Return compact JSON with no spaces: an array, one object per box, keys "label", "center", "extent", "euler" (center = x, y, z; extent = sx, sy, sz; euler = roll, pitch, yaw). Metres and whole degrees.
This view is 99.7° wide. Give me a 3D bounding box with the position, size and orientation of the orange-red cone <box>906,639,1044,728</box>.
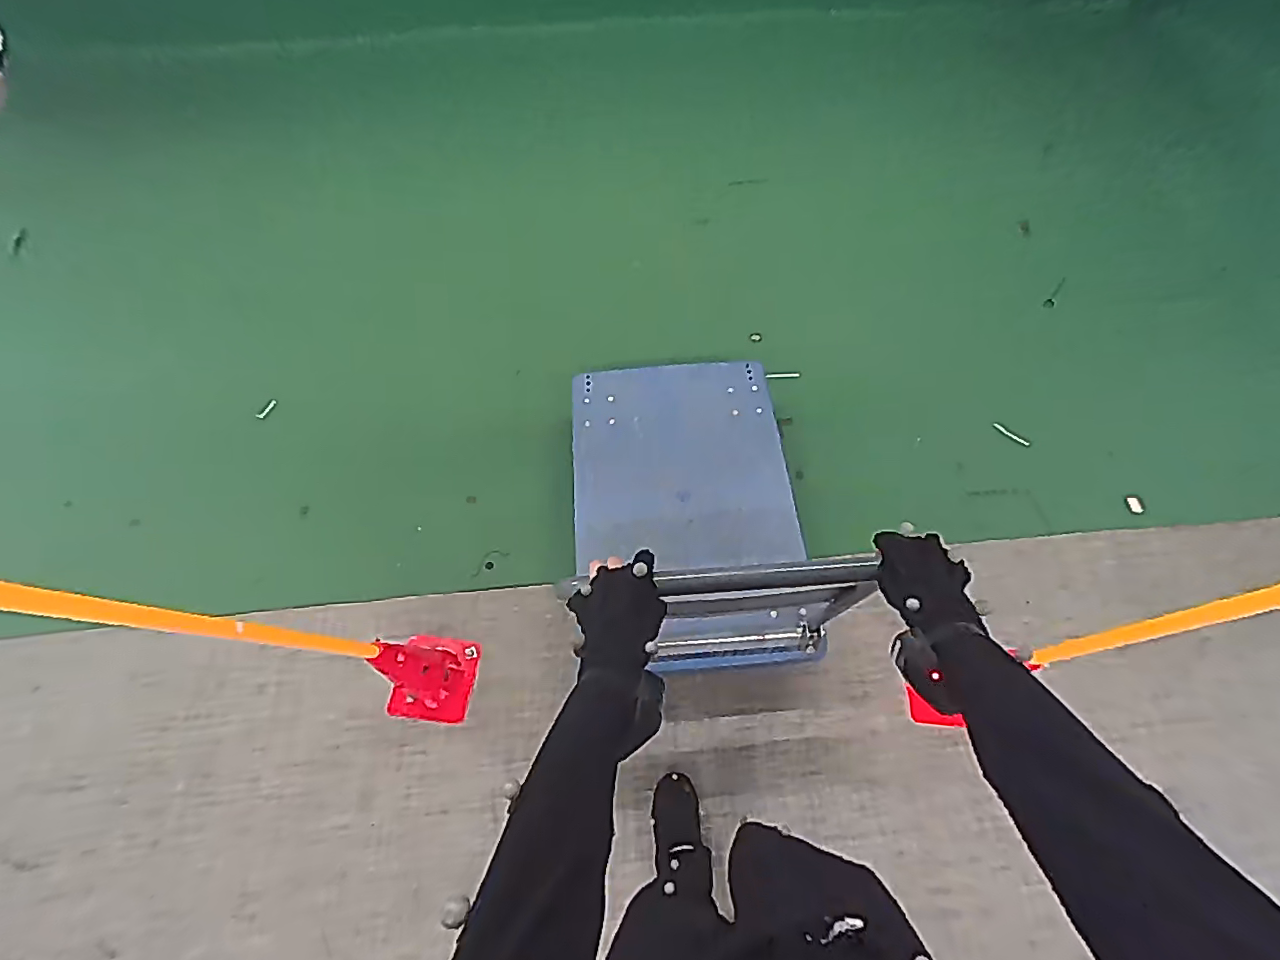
[{"label":"orange-red cone","center":[0.770,0.428,1.203],"extent":[0.198,0.360,0.199],"euler":[5,63,4]}]
